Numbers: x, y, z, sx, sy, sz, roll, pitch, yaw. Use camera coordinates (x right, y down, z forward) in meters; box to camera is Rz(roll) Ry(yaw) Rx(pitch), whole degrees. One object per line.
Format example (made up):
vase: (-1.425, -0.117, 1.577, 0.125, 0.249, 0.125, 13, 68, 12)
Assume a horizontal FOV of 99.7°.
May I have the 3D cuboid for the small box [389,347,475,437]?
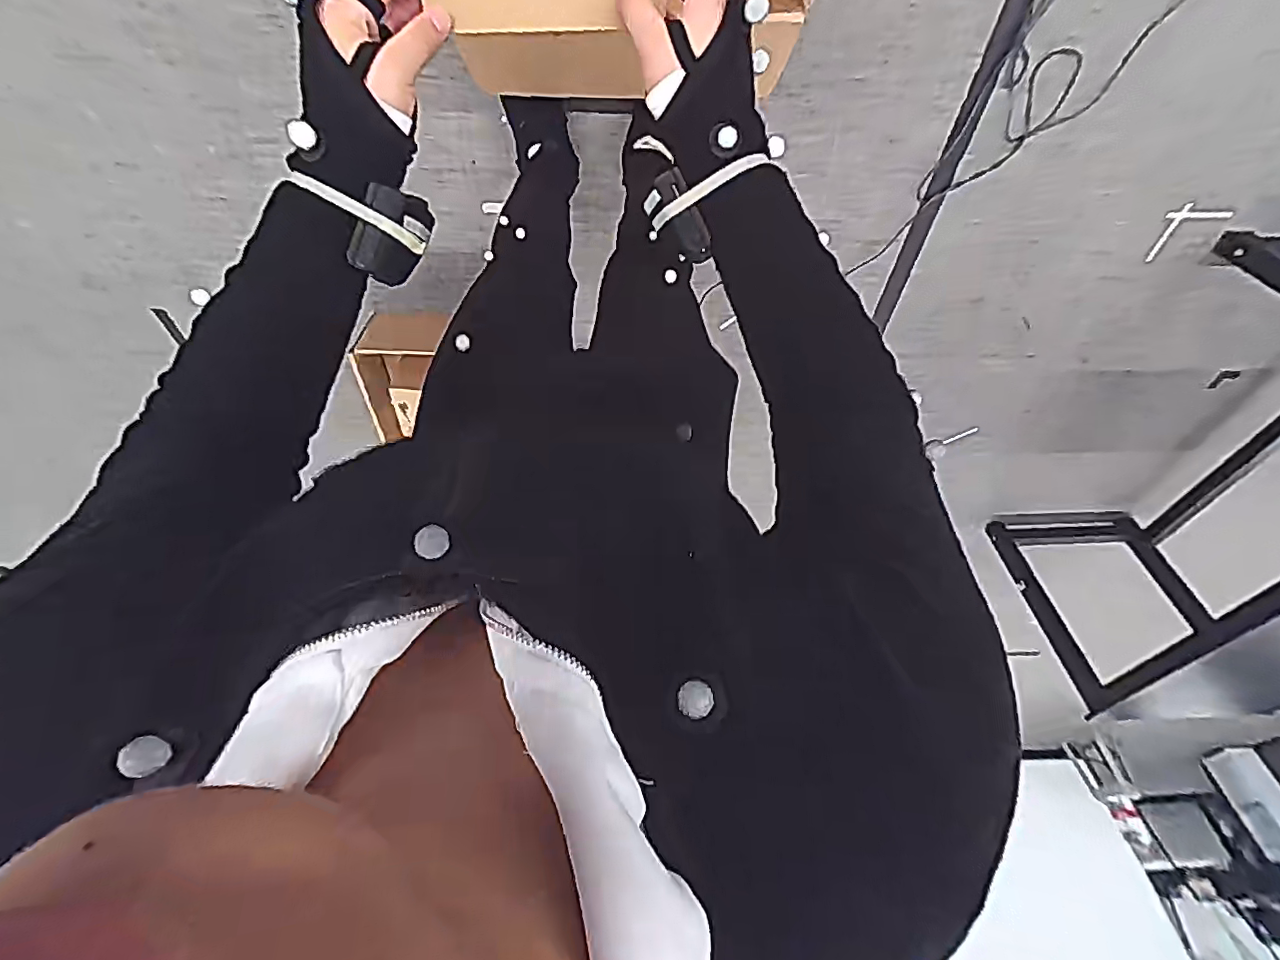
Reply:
small box: (-0.529, -0.230, 1.406, 0.179, 0.176, 0.168, 1, 139, -7)
